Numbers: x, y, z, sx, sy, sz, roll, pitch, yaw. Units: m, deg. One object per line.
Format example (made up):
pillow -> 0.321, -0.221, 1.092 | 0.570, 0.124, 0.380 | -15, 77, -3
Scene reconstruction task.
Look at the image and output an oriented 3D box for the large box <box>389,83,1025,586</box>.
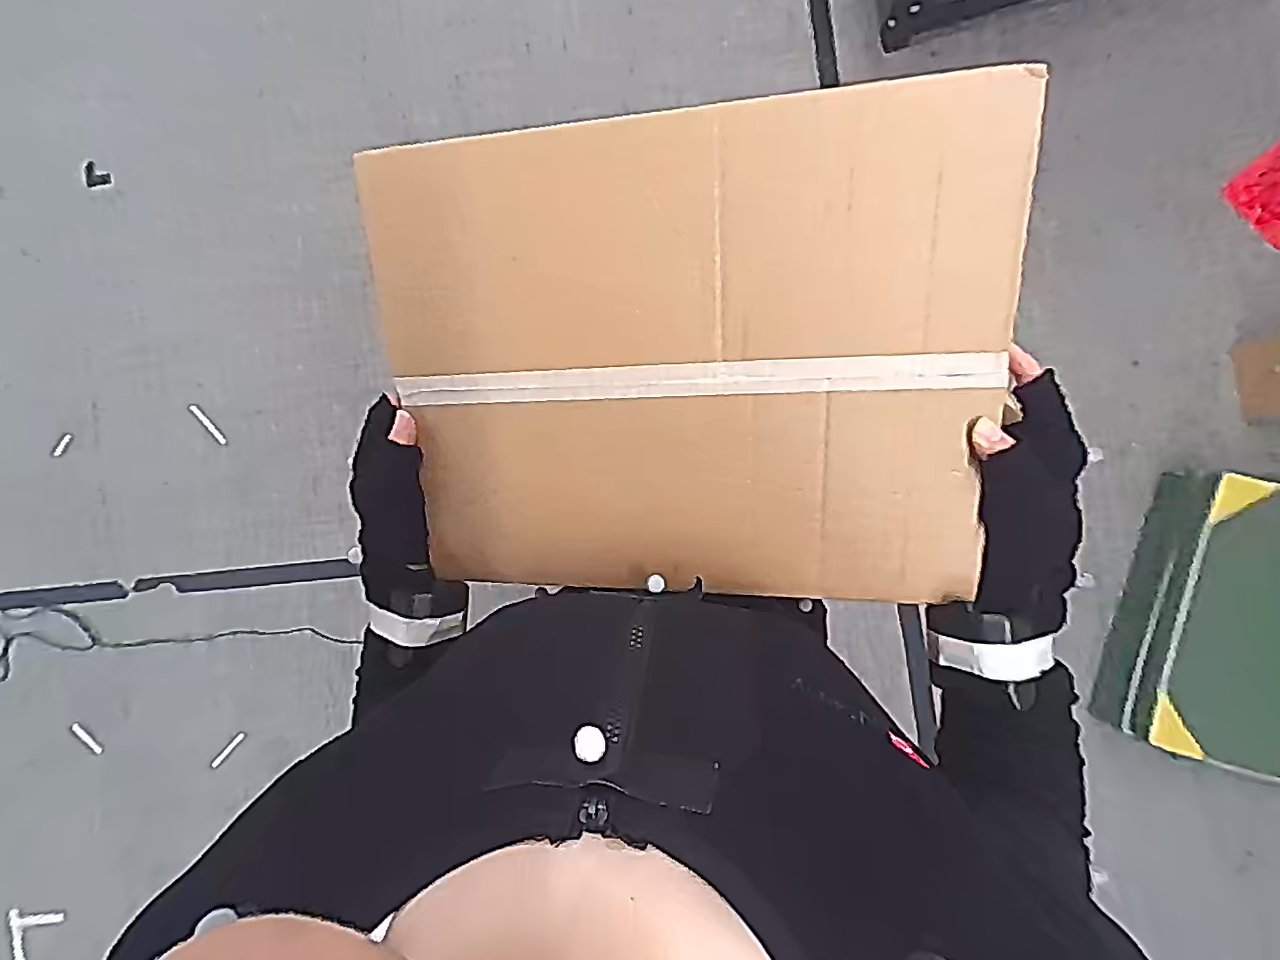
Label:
large box -> 0.055, -0.112, 0.516 | 0.408, 0.320, 0.320 | 0, 108, 12
